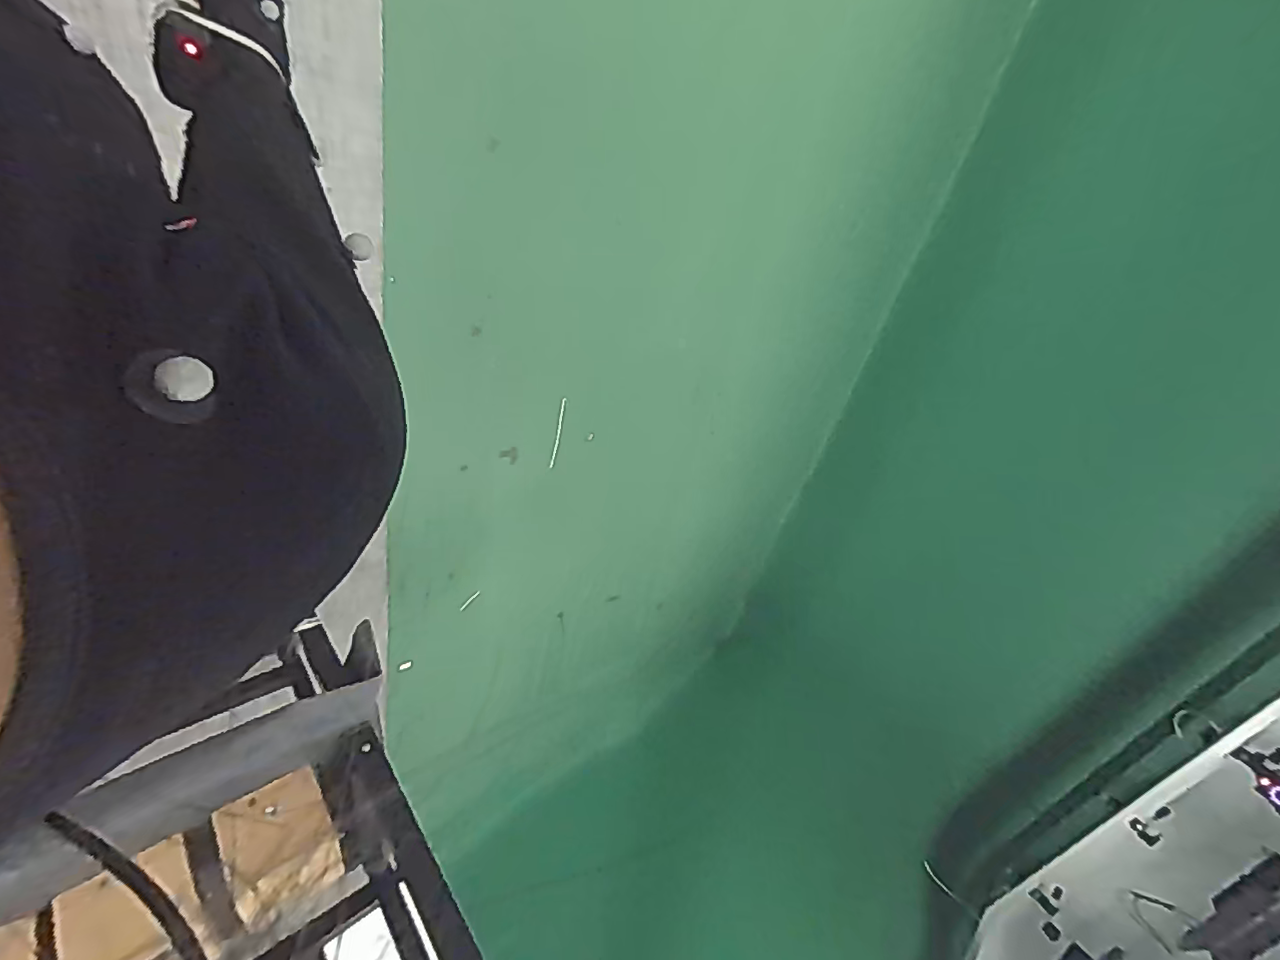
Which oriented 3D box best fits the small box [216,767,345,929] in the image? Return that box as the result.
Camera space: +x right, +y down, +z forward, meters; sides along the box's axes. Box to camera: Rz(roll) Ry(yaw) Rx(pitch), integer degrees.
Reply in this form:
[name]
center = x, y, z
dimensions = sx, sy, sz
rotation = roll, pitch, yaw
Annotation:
[small box]
center = -0.696, 0.706, 1.054
dimensions = 0.168, 0.176, 0.179
rotation = -19, 135, -40
